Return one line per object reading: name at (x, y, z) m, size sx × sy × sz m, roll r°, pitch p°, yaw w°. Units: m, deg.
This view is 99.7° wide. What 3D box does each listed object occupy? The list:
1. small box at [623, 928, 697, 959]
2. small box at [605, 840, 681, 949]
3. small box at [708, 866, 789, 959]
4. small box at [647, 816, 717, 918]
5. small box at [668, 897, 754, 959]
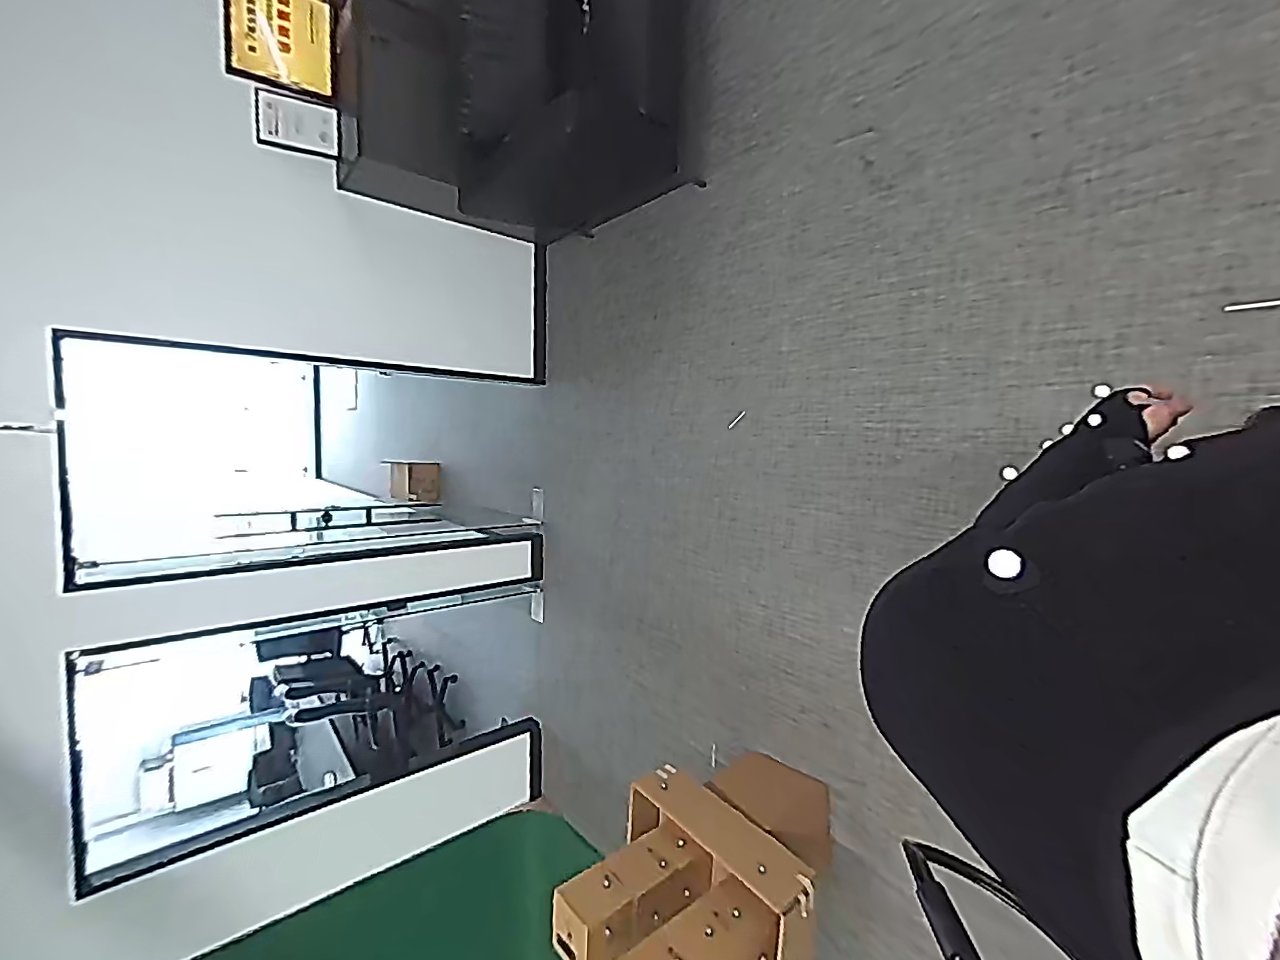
small box at (0.056, 1.275, 1.328) m, size 0.168 × 0.176 × 0.179 m, roll 15°, pitch 103°, yaw 48°
small box at (0.010, 1.245, 1.637) m, size 0.168 × 0.176 × 0.179 m, roll 8°, pitch 99°, yaw 49°
small box at (0.305, 1.267, 1.541) m, size 0.168 × 0.176 × 0.179 m, roll 13°, pitch 102°, yaw 49°
small box at (0.132, 1.238, 1.748) m, size 0.168 × 0.176 × 0.179 m, roll 10°, pitch 100°, yaw 48°
small box at (0.183, 1.269, 1.432) m, size 0.168 × 0.176 × 0.179 m, roll 15°, pitch 103°, yaw 50°
